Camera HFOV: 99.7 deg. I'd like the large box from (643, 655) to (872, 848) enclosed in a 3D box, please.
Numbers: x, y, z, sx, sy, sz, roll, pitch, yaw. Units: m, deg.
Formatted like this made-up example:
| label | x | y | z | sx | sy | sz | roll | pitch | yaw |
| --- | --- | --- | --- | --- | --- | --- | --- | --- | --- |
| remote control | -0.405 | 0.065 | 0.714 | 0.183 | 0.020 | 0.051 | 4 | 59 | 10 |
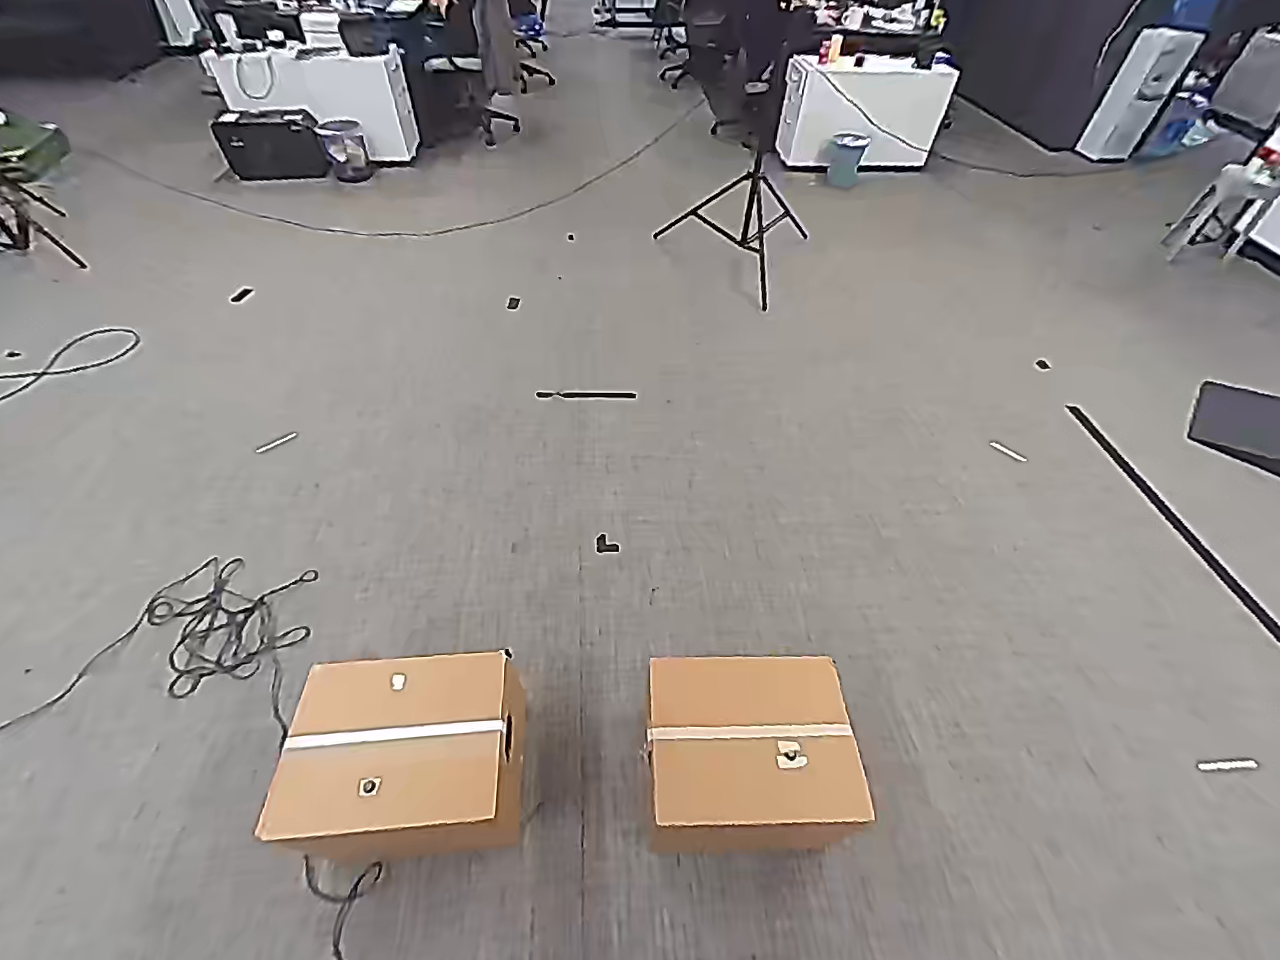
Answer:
| label | x | y | z | sx | sy | sz | roll | pitch | yaw |
| --- | --- | --- | --- | --- | --- | --- | --- | --- | --- |
| large box | 0.220 | 0.600 | 1.194 | 0.408 | 0.320 | 0.320 | 1 | 49 | -3 |
